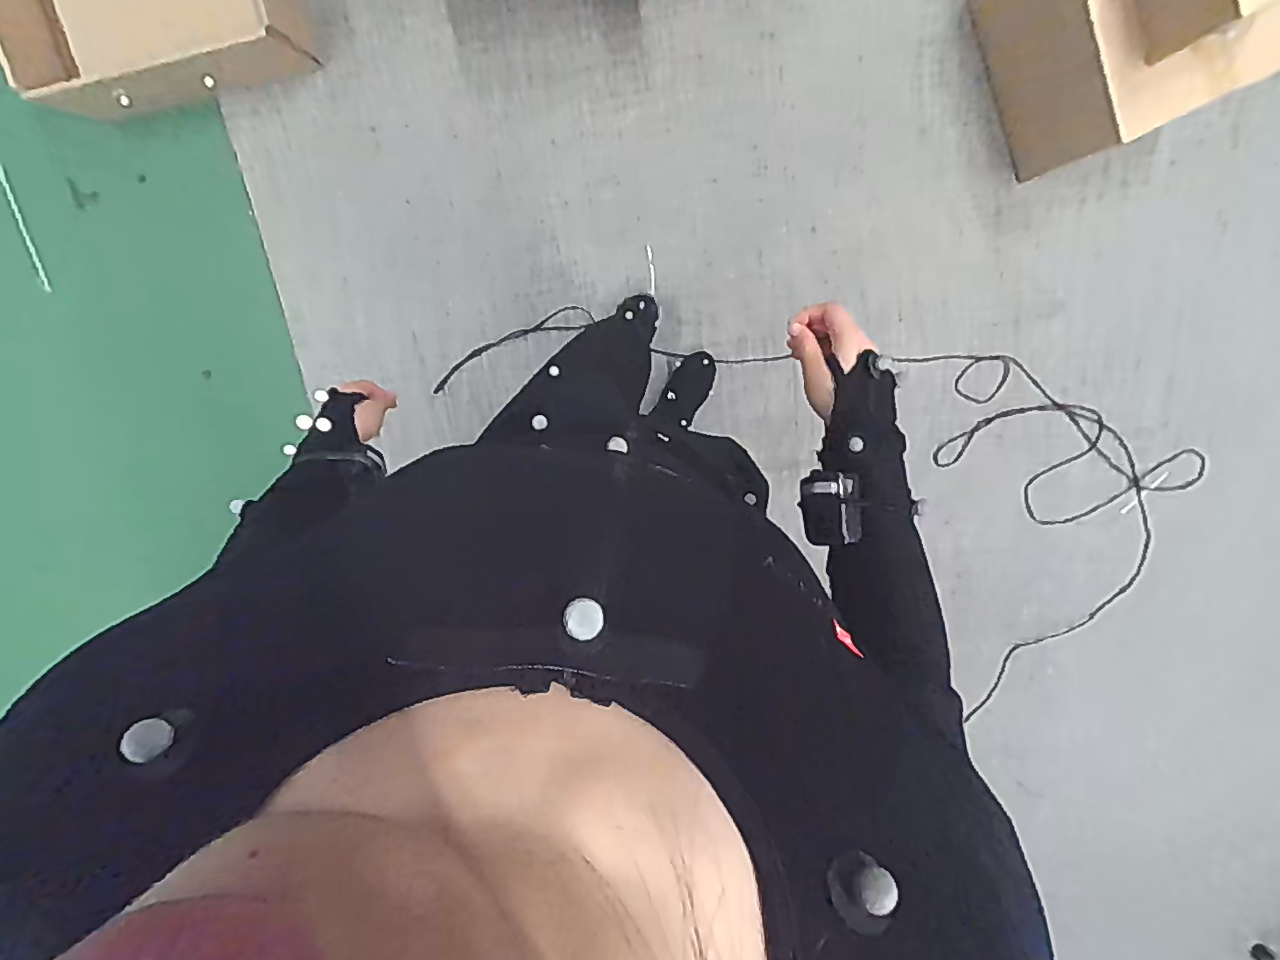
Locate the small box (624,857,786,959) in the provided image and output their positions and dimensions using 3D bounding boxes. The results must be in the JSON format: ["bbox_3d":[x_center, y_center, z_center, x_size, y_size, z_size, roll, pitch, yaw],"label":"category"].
[{"bbox_3d":[0.084,0.599,0.652,0.179,0.176,0.168,-19,104,9],"label":"small box"}]

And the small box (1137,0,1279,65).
[{"bbox_3d":[0.876,-0.770,0.793,0.168,0.176,0.179,-23,103,13],"label":"small box"}]
